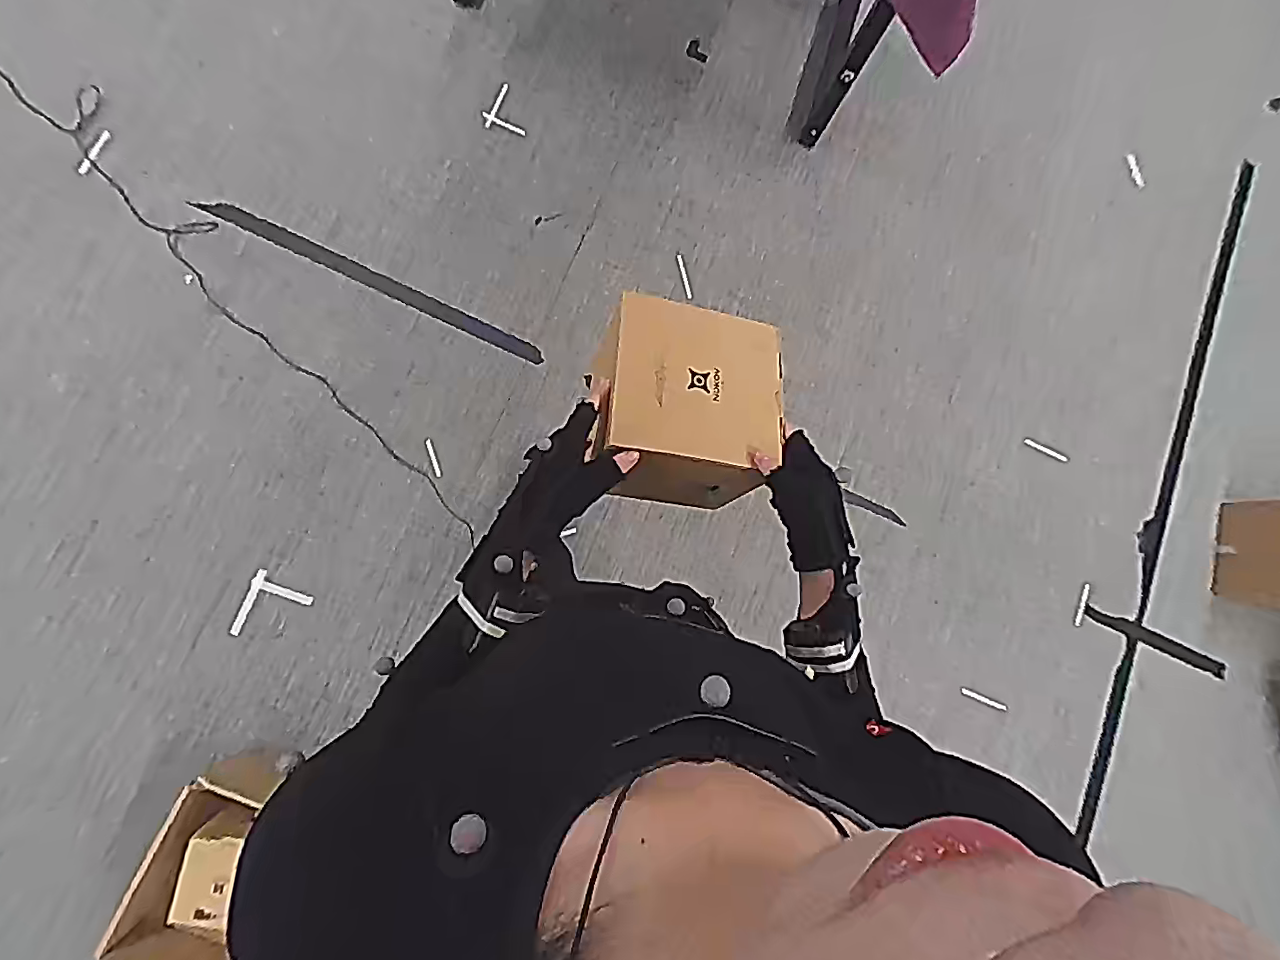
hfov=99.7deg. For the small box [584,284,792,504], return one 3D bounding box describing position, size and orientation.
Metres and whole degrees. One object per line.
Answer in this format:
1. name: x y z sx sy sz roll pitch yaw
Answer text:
1. small box: 0.045 -0.077 0.588 0.179 0.176 0.168 8 71 -13
